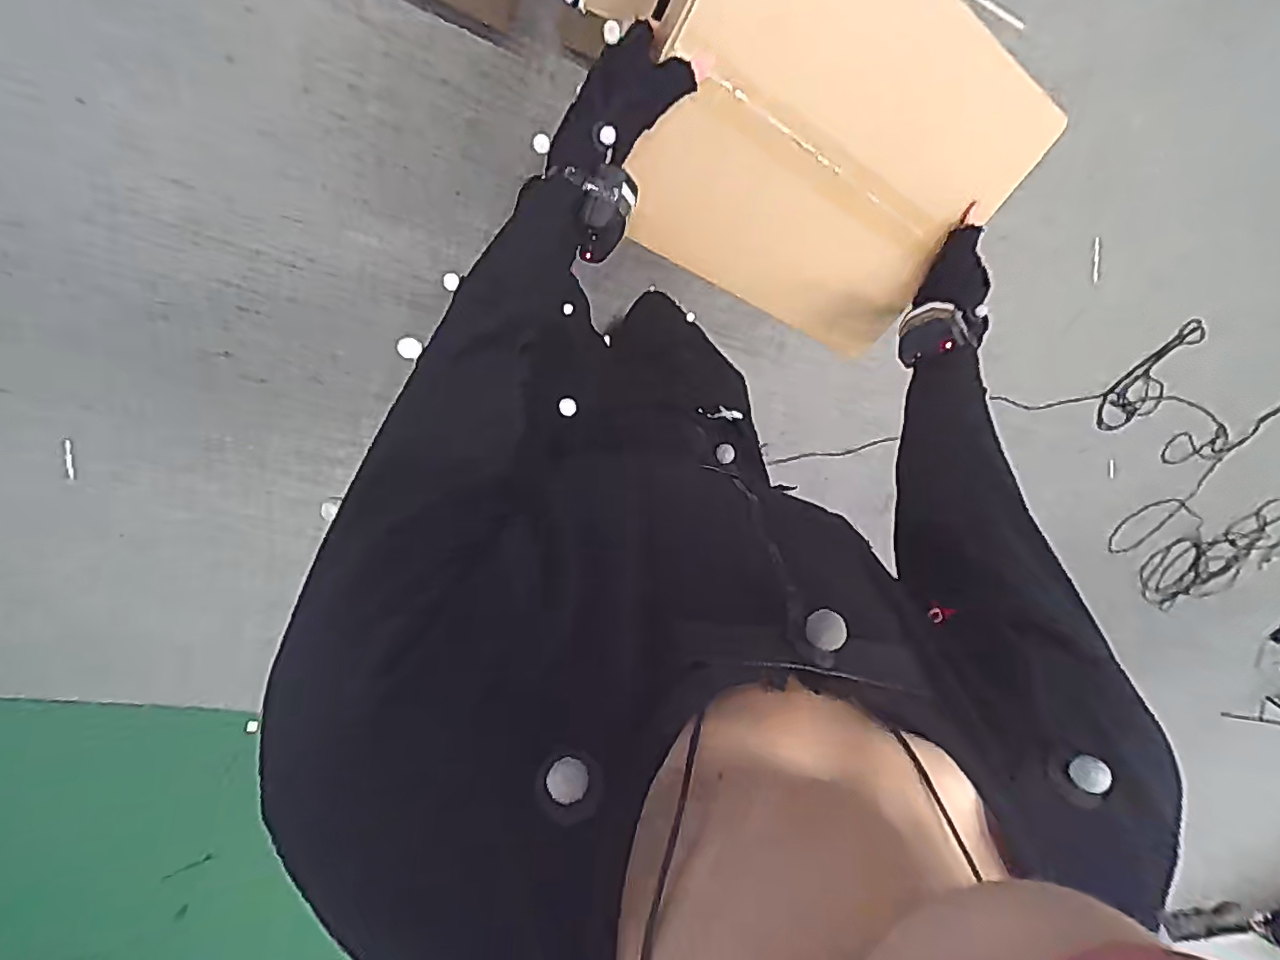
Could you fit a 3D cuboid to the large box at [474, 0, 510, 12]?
[{"bbox_3d":[-0.362,-0.988,0.790,0.408,0.320,0.320,14,116,-19],"label":"large box"}]
